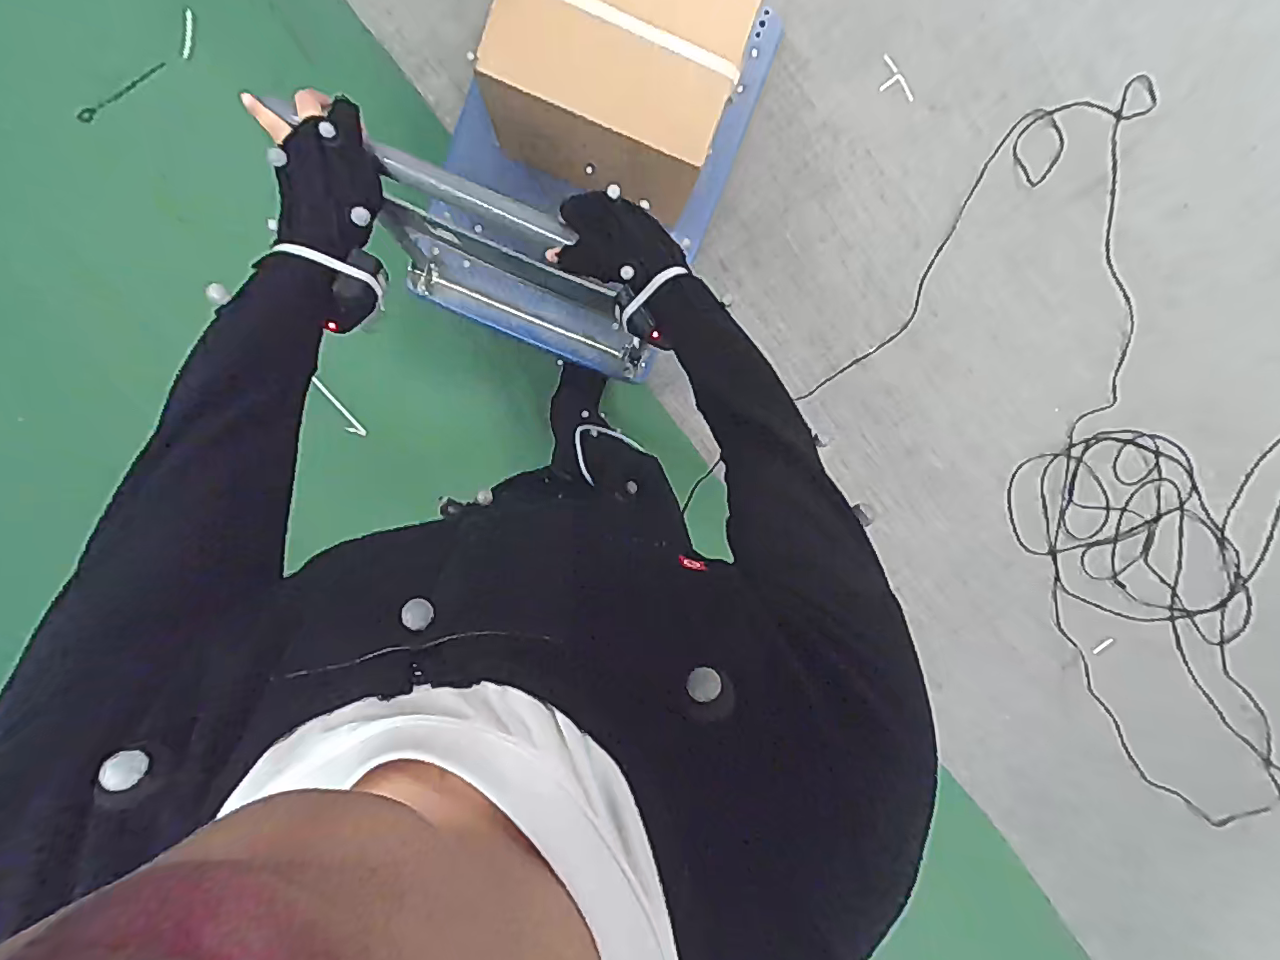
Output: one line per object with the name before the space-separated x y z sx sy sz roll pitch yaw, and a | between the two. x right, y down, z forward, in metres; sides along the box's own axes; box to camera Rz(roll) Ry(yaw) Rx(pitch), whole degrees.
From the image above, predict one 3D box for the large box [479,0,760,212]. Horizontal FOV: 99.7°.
large box | -0.034 -0.776 1.027 0.408 0.320 0.320 20 96 -7
